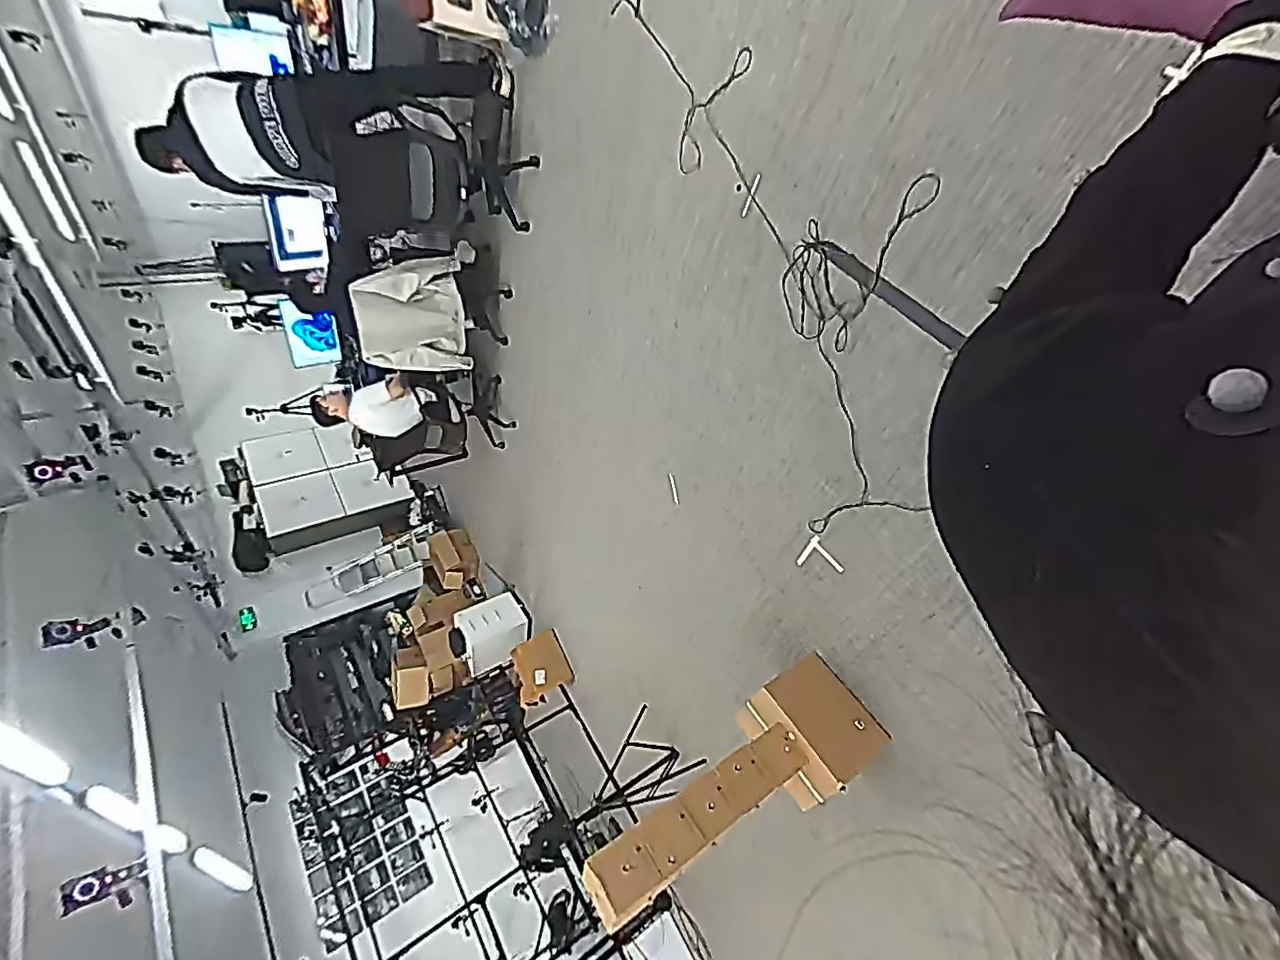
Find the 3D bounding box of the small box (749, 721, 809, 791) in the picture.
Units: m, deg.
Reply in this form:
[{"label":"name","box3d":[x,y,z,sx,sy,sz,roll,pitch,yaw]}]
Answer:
[{"label":"small box","box3d":[0.480,1.016,1.966,0.168,0.176,0.179,50,141,30]}]

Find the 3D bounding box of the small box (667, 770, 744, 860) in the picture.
[{"label":"small box","box3d":[0.218,1.102,1.791,0.168,0.176,0.179,47,140,35]}]

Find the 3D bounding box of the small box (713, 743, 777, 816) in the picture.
[{"label":"small box","box3d":[0.349,1.053,1.878,0.168,0.176,0.179,50,143,32]}]

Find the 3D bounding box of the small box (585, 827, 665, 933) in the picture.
[{"label":"small box","box3d":[-0.044,1.187,1.614,0.168,0.176,0.179,44,137,37]}]
